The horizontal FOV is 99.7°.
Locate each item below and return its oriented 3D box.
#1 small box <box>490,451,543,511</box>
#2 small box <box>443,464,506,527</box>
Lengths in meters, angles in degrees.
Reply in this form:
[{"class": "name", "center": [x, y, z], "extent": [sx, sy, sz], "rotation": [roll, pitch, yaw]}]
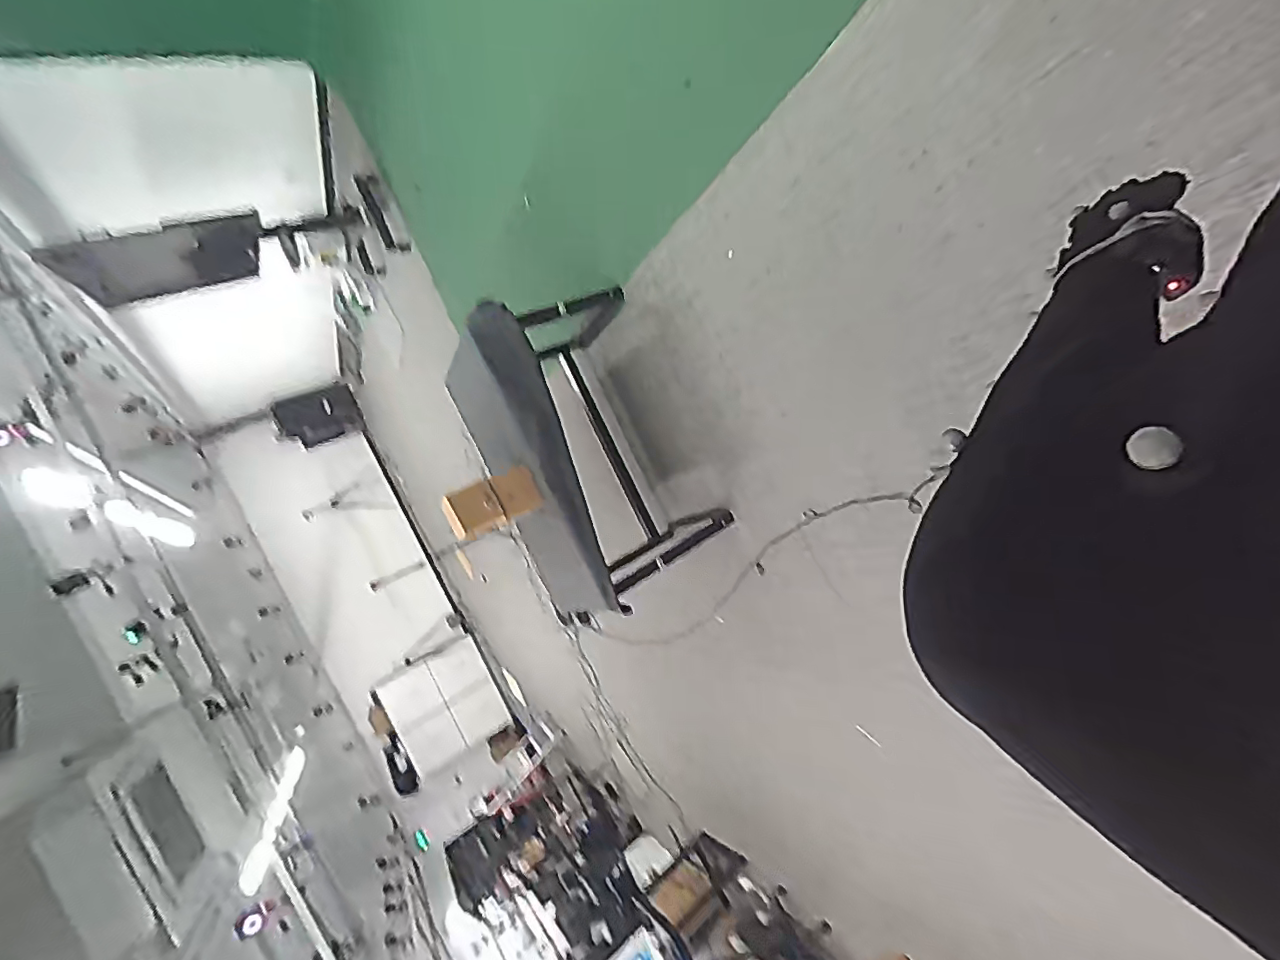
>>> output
[{"class": "small box", "center": [-0.510, 0.004, 2.173], "extent": [0.179, 0.176, 0.168], "rotation": [64, 152, -1]}, {"class": "small box", "center": [-0.639, 0.060, 2.091], "extent": [0.168, 0.176, 0.179], "rotation": [60, 150, 2]}]
